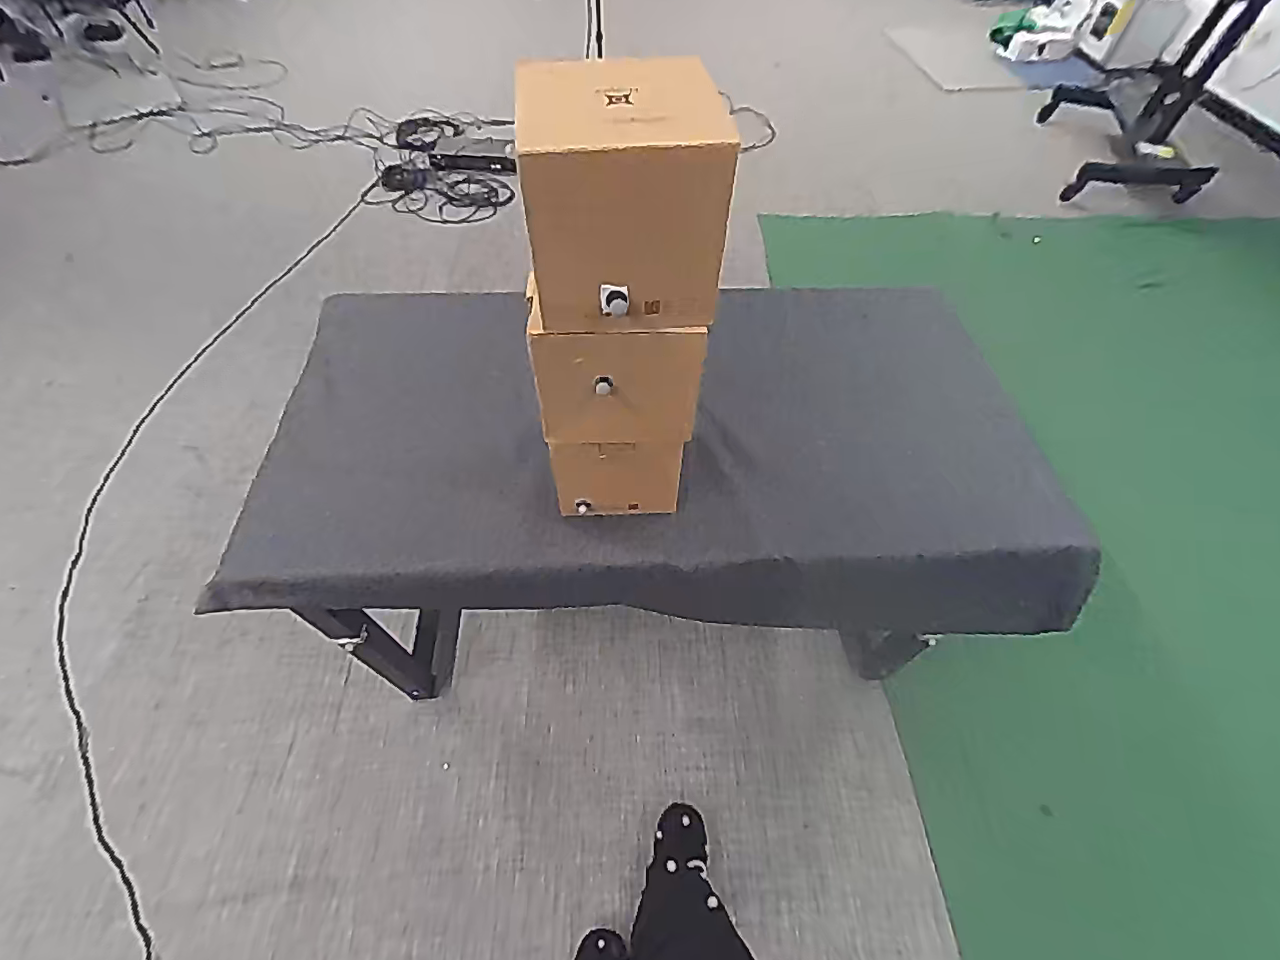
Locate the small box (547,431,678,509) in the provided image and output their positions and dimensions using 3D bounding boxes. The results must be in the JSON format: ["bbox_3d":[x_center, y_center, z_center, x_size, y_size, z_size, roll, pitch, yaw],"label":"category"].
[{"bbox_3d":[-0.036,-0.068,0.775,0.168,0.176,0.179,-2,53,-2],"label":"small box"}]

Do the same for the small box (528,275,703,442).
[{"bbox_3d":[-0.030,-0.158,0.641,0.179,0.176,0.168,-3,53,-4],"label":"small box"}]

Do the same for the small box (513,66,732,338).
[{"bbox_3d":[-0.023,-0.258,0.510,0.168,0.176,0.179,-7,55,-5],"label":"small box"}]
